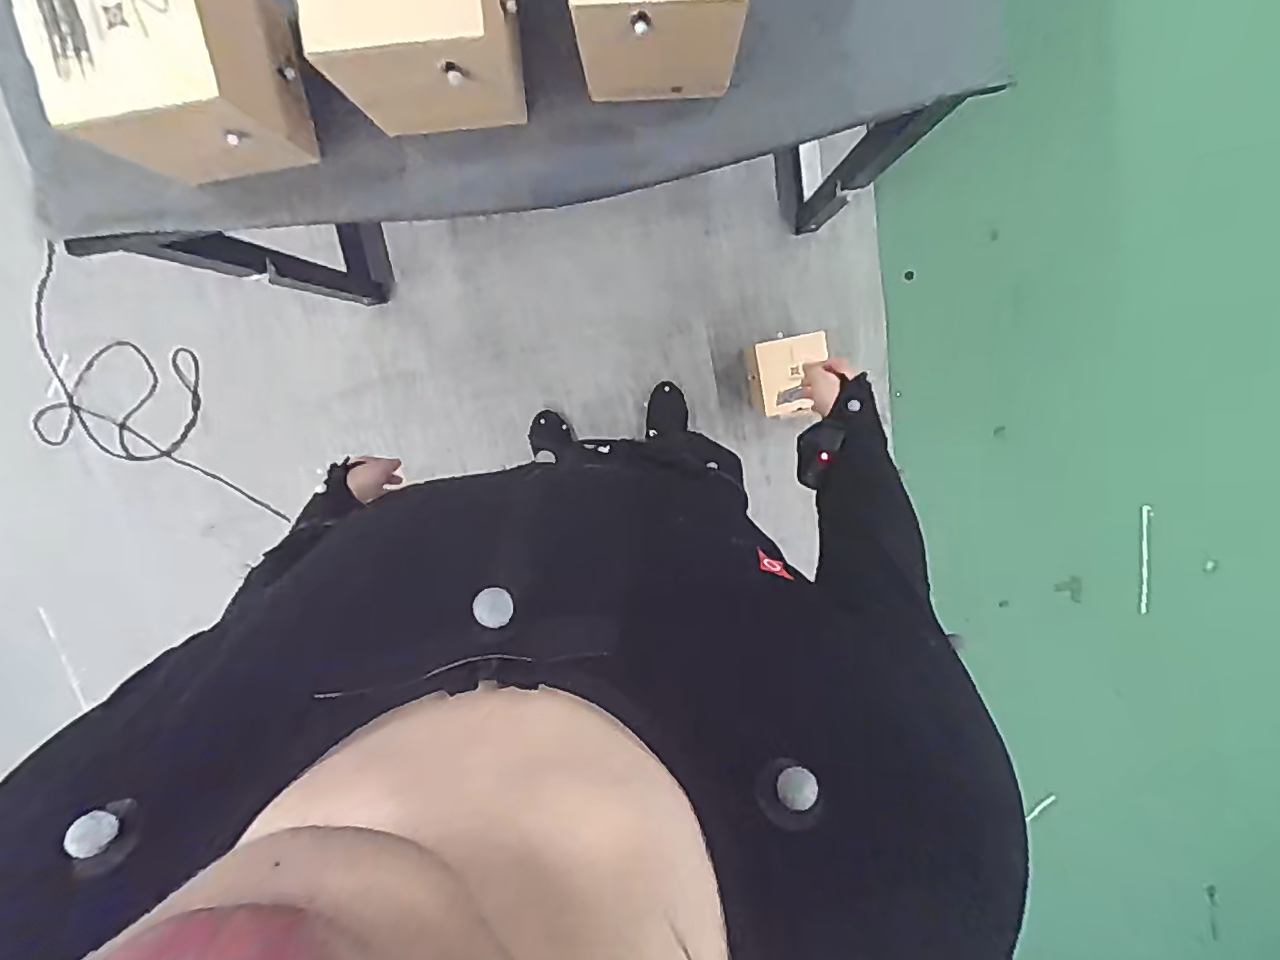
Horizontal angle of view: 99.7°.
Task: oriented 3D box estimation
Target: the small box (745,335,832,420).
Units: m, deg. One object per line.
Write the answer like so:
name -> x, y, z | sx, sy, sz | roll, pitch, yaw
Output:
small box -> 0.364, -0.254, 1.345 | 0.168, 0.176, 0.179 | -10, 100, 3

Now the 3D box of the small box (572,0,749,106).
small box -> 0.019, -0.525, 0.557 | 0.168, 0.176, 0.179 | 0, 99, 1
